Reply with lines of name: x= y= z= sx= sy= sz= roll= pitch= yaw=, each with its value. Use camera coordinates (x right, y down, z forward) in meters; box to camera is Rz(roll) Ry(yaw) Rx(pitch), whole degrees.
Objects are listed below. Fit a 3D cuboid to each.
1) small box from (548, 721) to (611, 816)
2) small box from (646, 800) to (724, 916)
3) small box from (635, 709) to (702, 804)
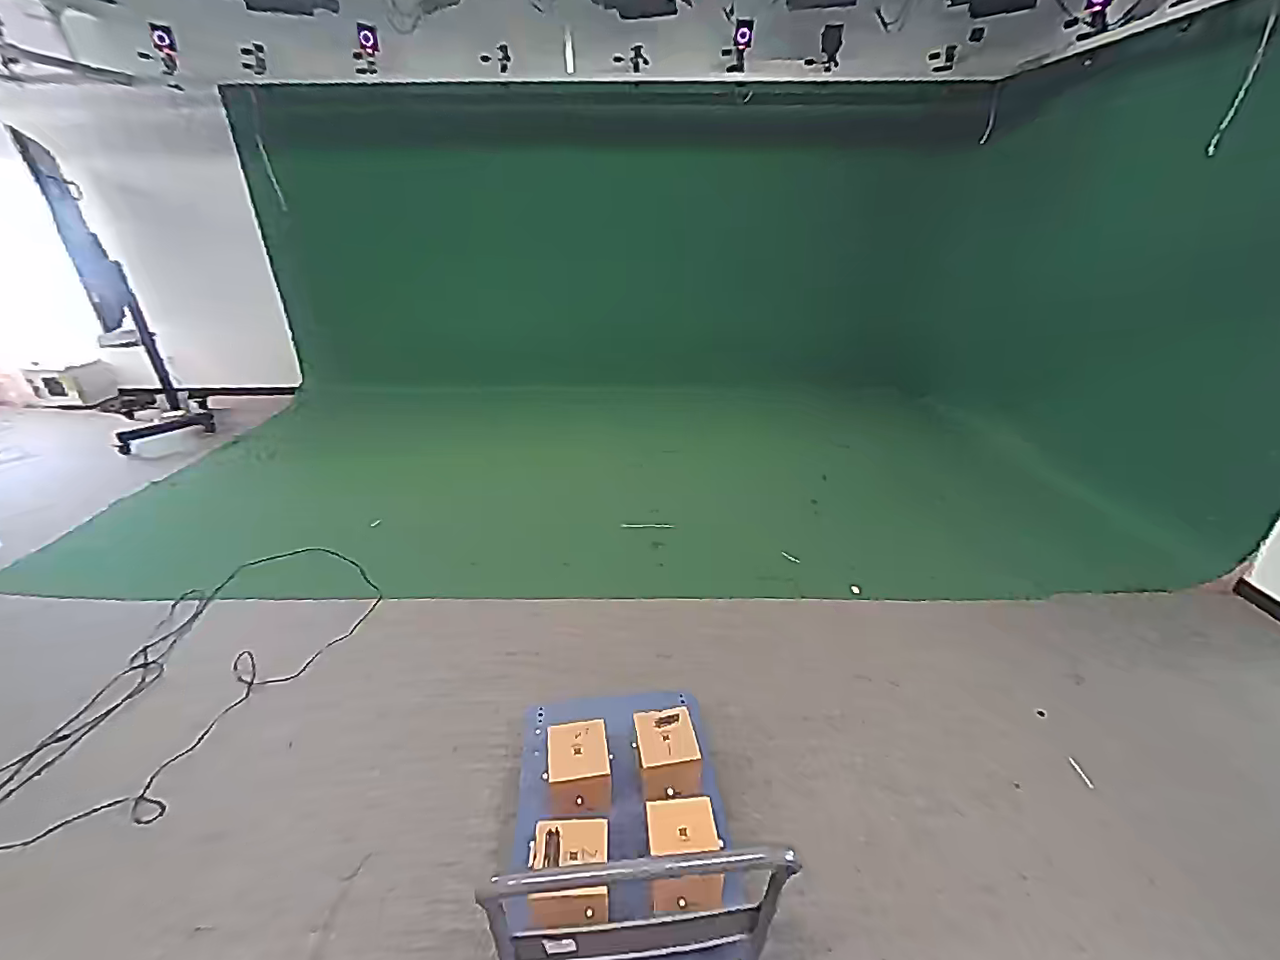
small box: x=-0.173 y=0.823 z=1.535 sx=0.168 sy=0.176 sz=0.179 roll=-3 pitch=28 yaw=-9
small box: x=0.104 y=0.931 z=1.337 sx=0.168 sy=0.176 sz=0.179 roll=-2 pitch=29 yaw=-5
small box: x=0.076 y=0.803 z=1.574 sx=0.168 sy=0.176 sz=0.179 roll=-5 pitch=29 yaw=-8
